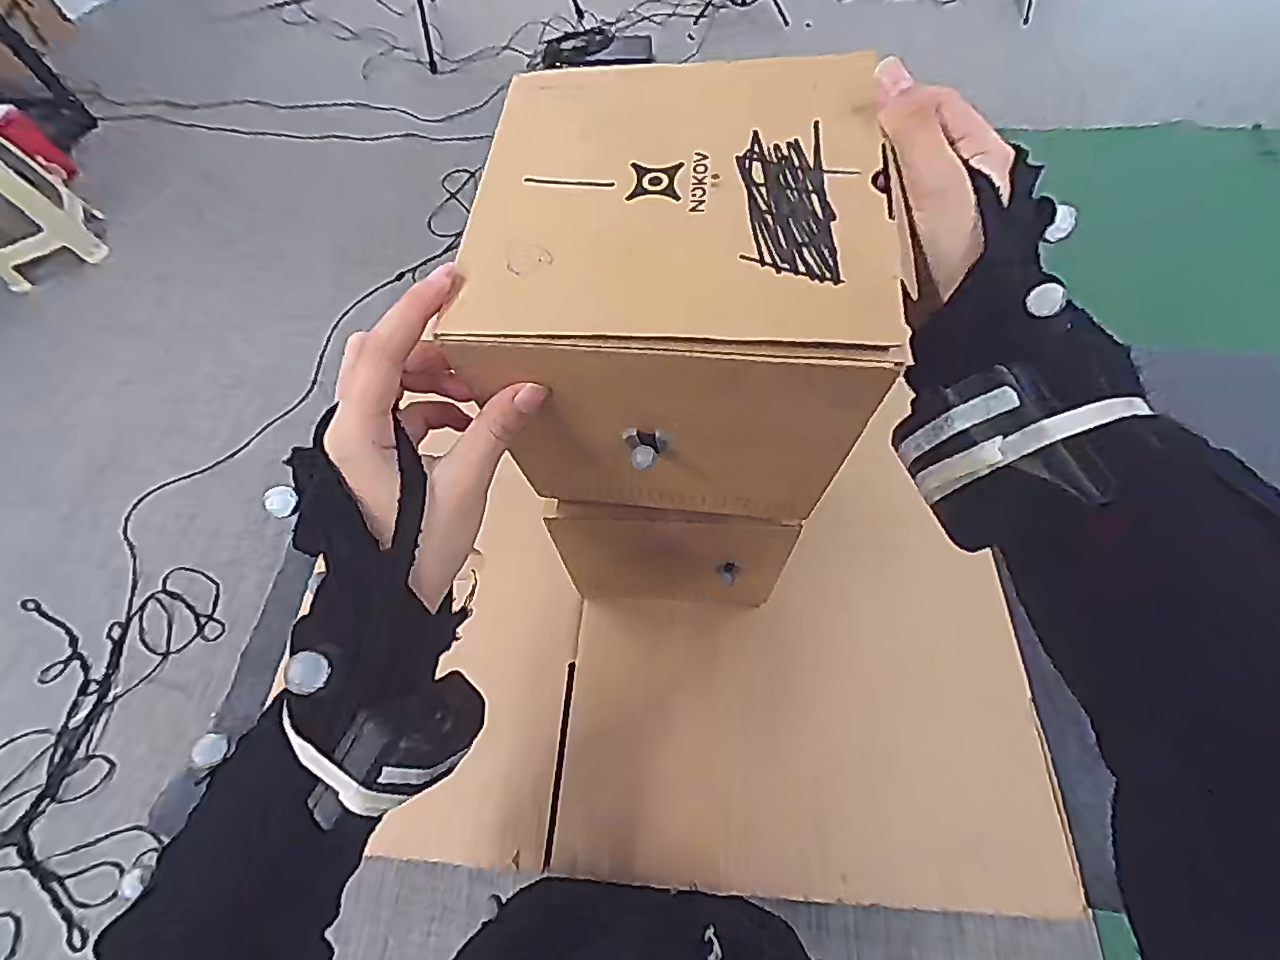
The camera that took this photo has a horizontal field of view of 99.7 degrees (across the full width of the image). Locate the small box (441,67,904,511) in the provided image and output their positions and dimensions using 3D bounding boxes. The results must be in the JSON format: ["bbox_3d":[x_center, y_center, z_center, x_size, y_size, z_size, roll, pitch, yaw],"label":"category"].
[{"bbox_3d":[0.024,-0.088,0.303,0.179,0.176,0.168,4,67,7],"label":"small box"}]

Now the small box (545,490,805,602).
[{"bbox_3d":[0.030,0.000,0.466,0.179,0.176,0.168,1,59,5],"label":"small box"}]
